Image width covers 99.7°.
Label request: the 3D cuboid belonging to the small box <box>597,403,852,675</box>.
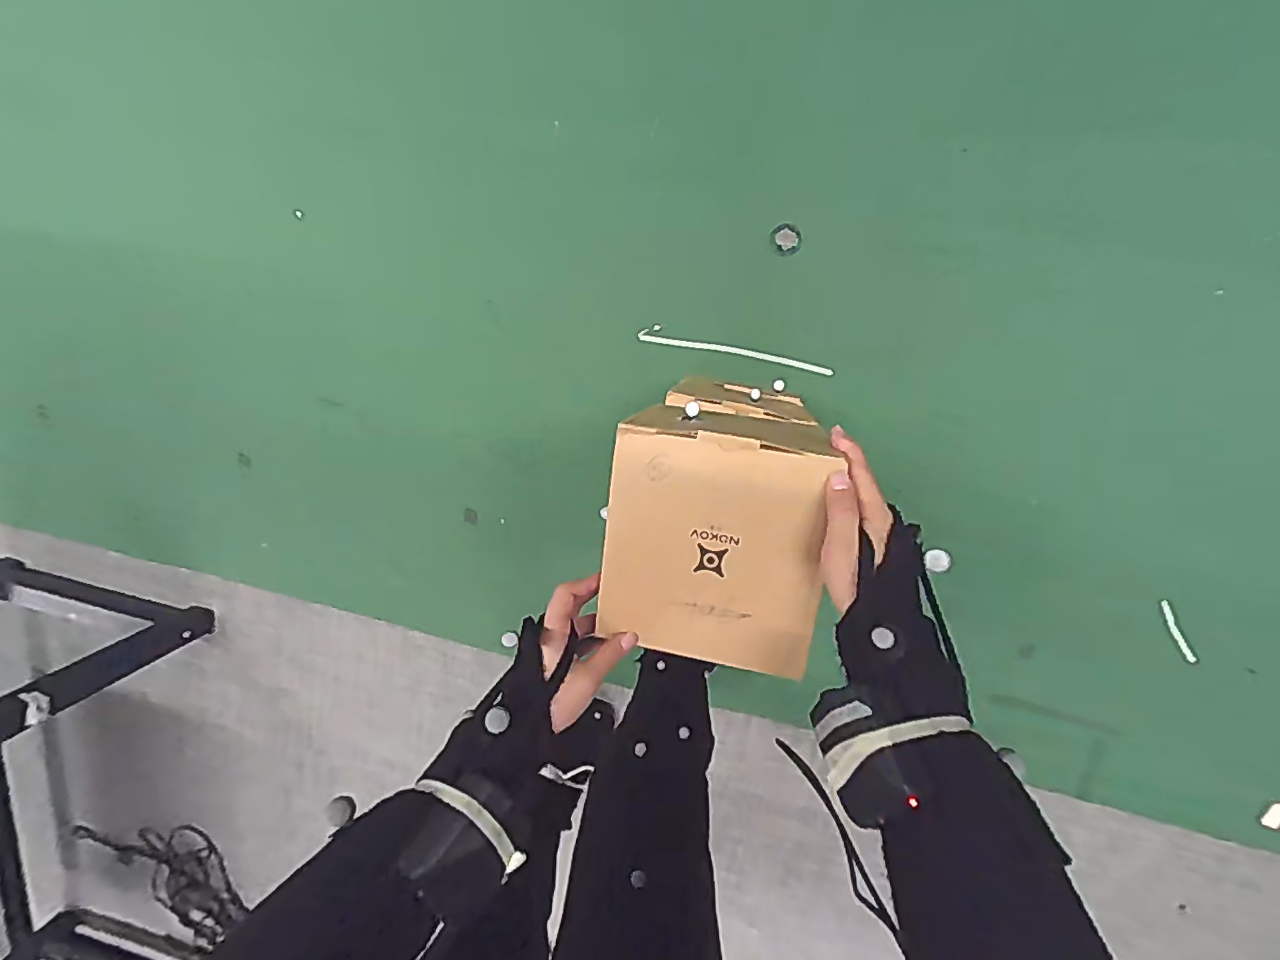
[{"bbox_3d":[0.071,0.032,0.471,0.168,0.176,0.179,9,105,11],"label":"small box"}]

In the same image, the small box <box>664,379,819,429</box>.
[{"bbox_3d":[0.107,-0.018,0.662,0.168,0.176,0.179,14,106,8],"label":"small box"}]
